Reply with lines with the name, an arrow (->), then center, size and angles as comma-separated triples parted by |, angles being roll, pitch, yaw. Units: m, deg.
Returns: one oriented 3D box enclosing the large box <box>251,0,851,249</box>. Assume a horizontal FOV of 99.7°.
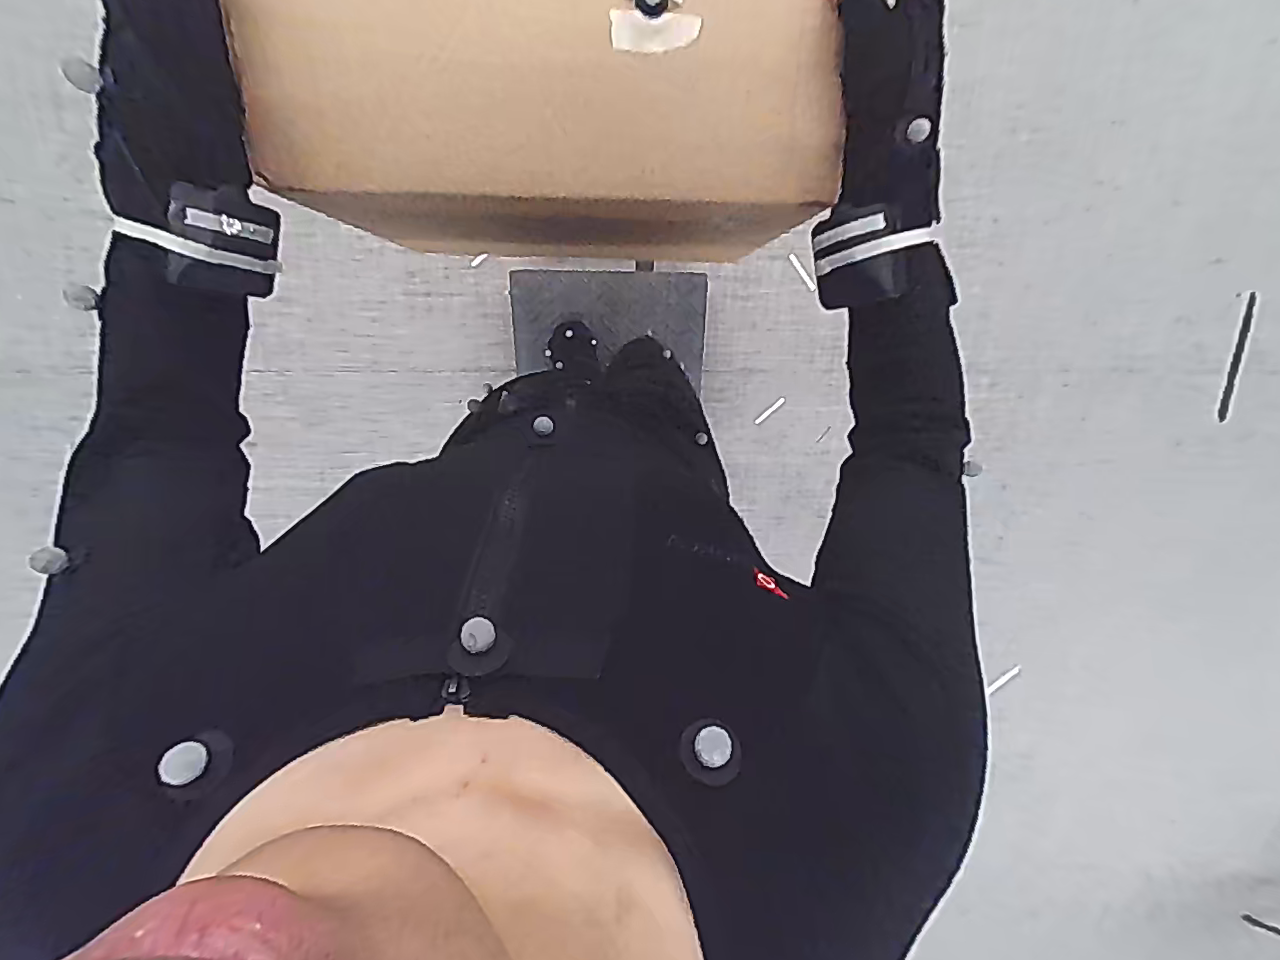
large box -> -0.064, -0.399, 0.491 | 0.408, 0.320, 0.320 | 0, 106, -4
